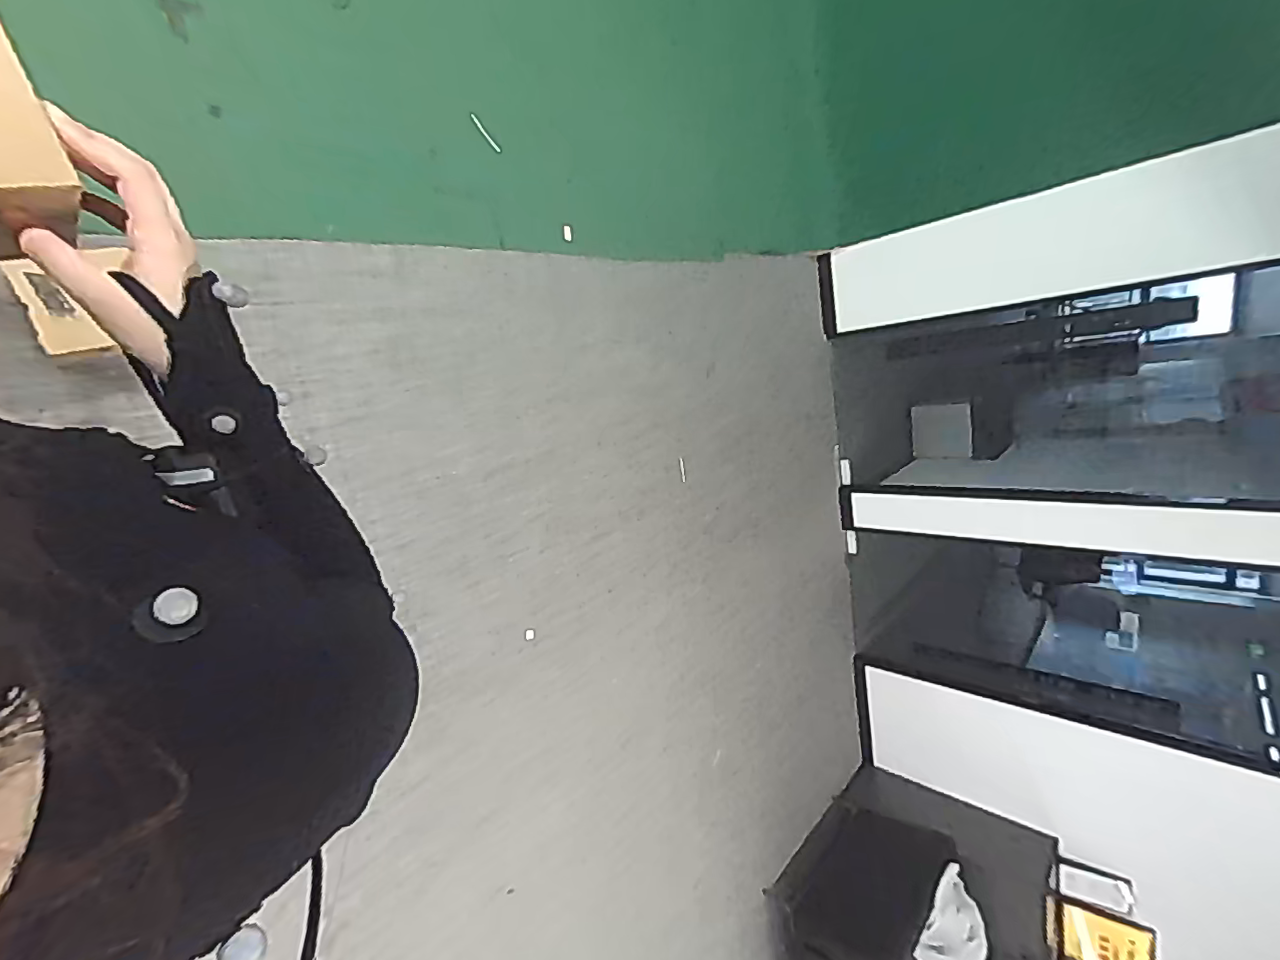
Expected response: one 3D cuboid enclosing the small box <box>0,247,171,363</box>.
[{"bbox_3d":[-1.025,-0.322,1.010,0.179,0.176,0.168,-29,113,-41],"label":"small box"}]
